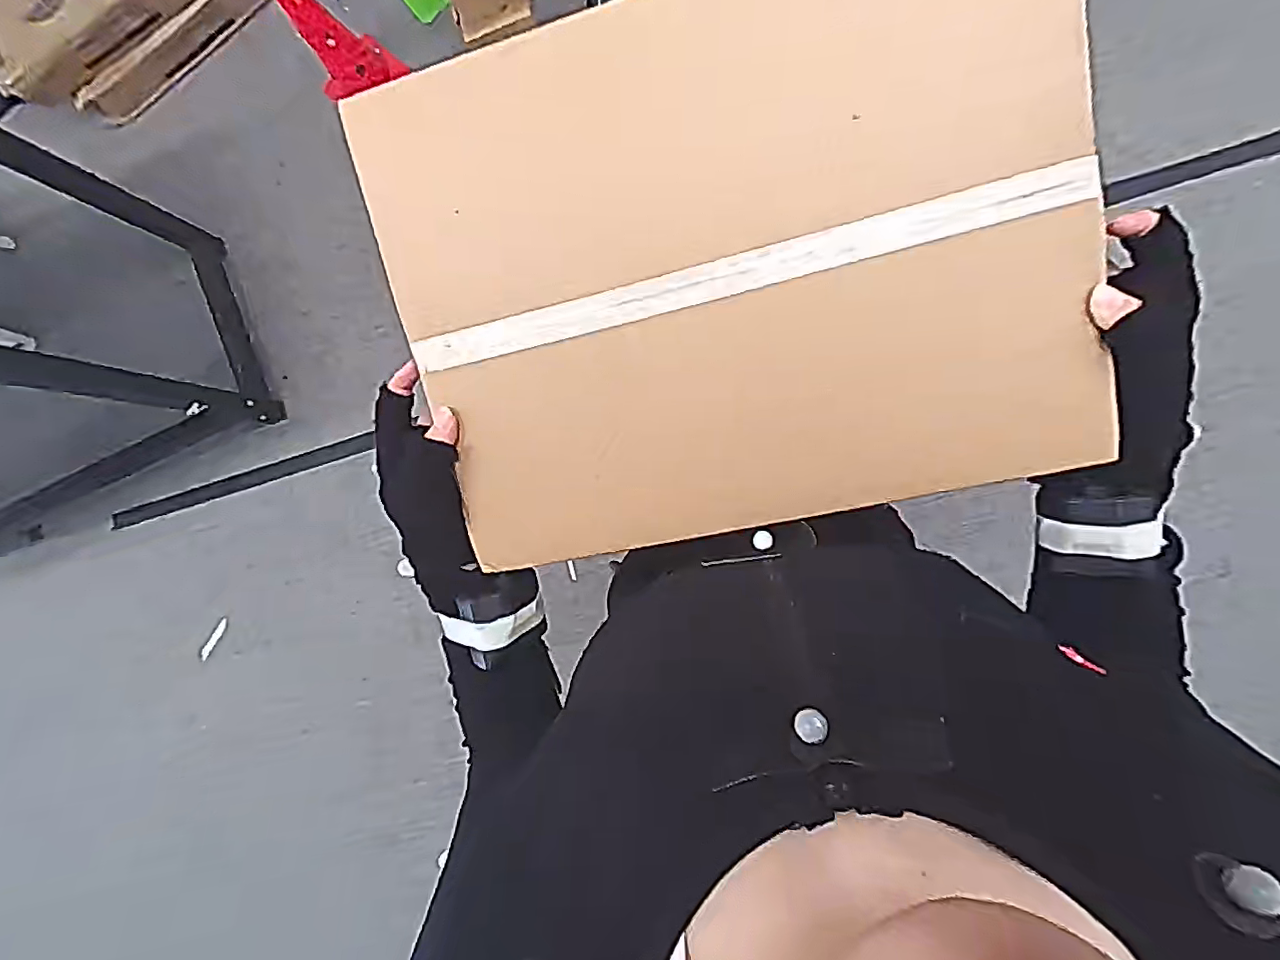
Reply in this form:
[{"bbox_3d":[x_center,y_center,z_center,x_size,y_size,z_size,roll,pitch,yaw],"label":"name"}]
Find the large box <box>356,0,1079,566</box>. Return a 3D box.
[{"bbox_3d":[0.064,-0.156,0.479,0.408,0.320,0.320,-11,101,10],"label":"large box"}]
